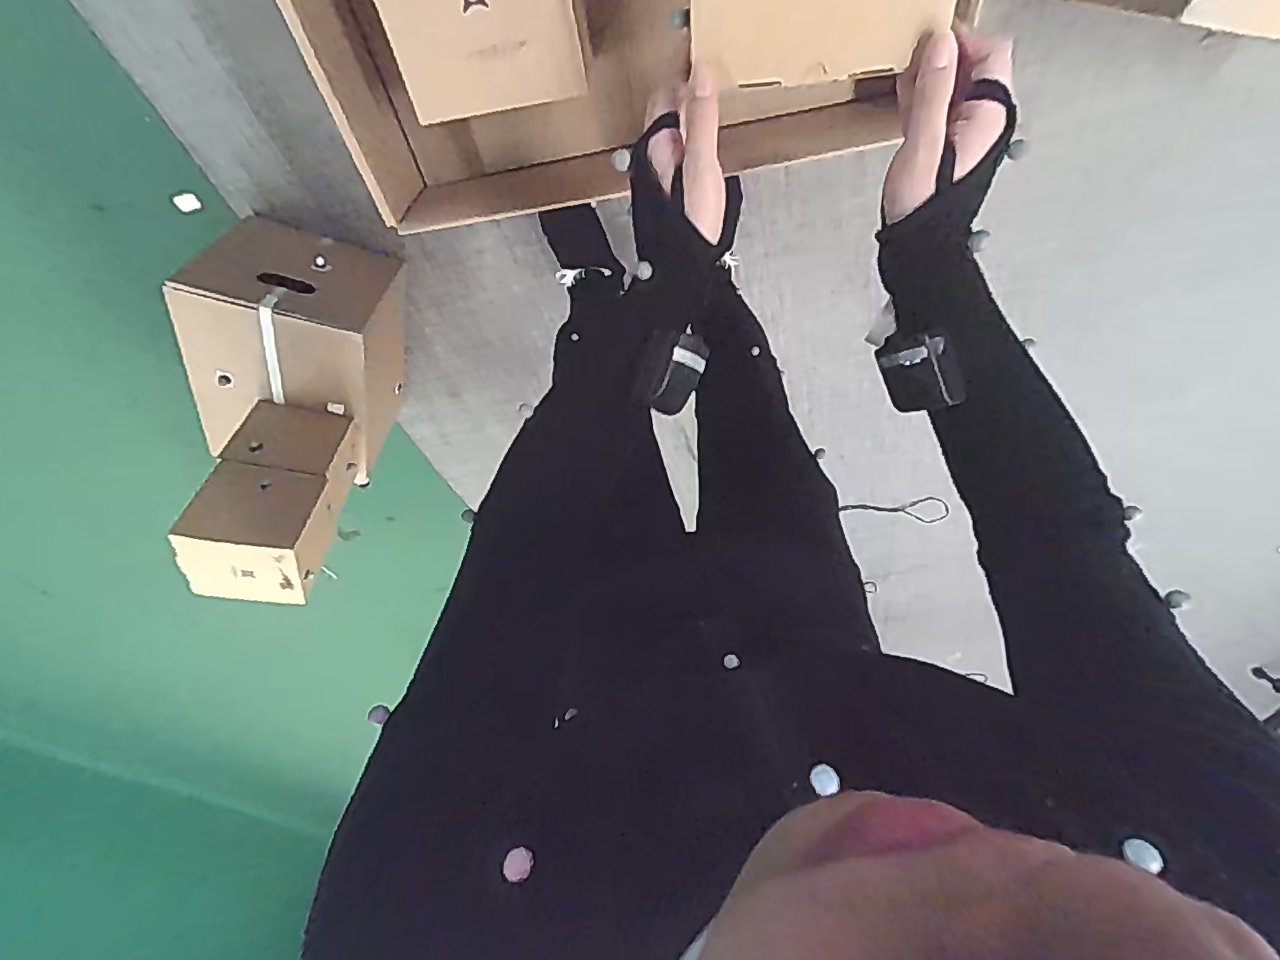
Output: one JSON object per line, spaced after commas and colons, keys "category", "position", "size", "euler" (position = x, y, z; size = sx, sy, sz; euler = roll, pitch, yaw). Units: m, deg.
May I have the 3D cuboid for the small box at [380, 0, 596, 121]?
{"category": "small box", "position": [-0.137, -0.462, 0.496], "size": [0.168, 0.176, 0.179], "euler": [-6, 137, 5]}

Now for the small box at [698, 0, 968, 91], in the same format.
{"category": "small box", "position": [0.124, -0.390, 0.367], "size": [0.168, 0.176, 0.179], "euler": [-1, 134, 6]}

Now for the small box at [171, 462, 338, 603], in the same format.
{"category": "small box", "position": [-0.654, 0.090, 0.943], "size": [0.179, 0.176, 0.168], "euler": [11, 134, -15]}

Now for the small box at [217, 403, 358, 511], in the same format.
{"category": "small box", "position": [-0.672, -0.029, 1.055], "size": [0.179, 0.176, 0.168], "euler": [10, 134, -16]}

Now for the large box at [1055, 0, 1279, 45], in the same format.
{"category": "large box", "position": [0.896, -0.795, 0.718], "size": [0.408, 0.320, 0.320], "euler": [4, 135, -6]}
